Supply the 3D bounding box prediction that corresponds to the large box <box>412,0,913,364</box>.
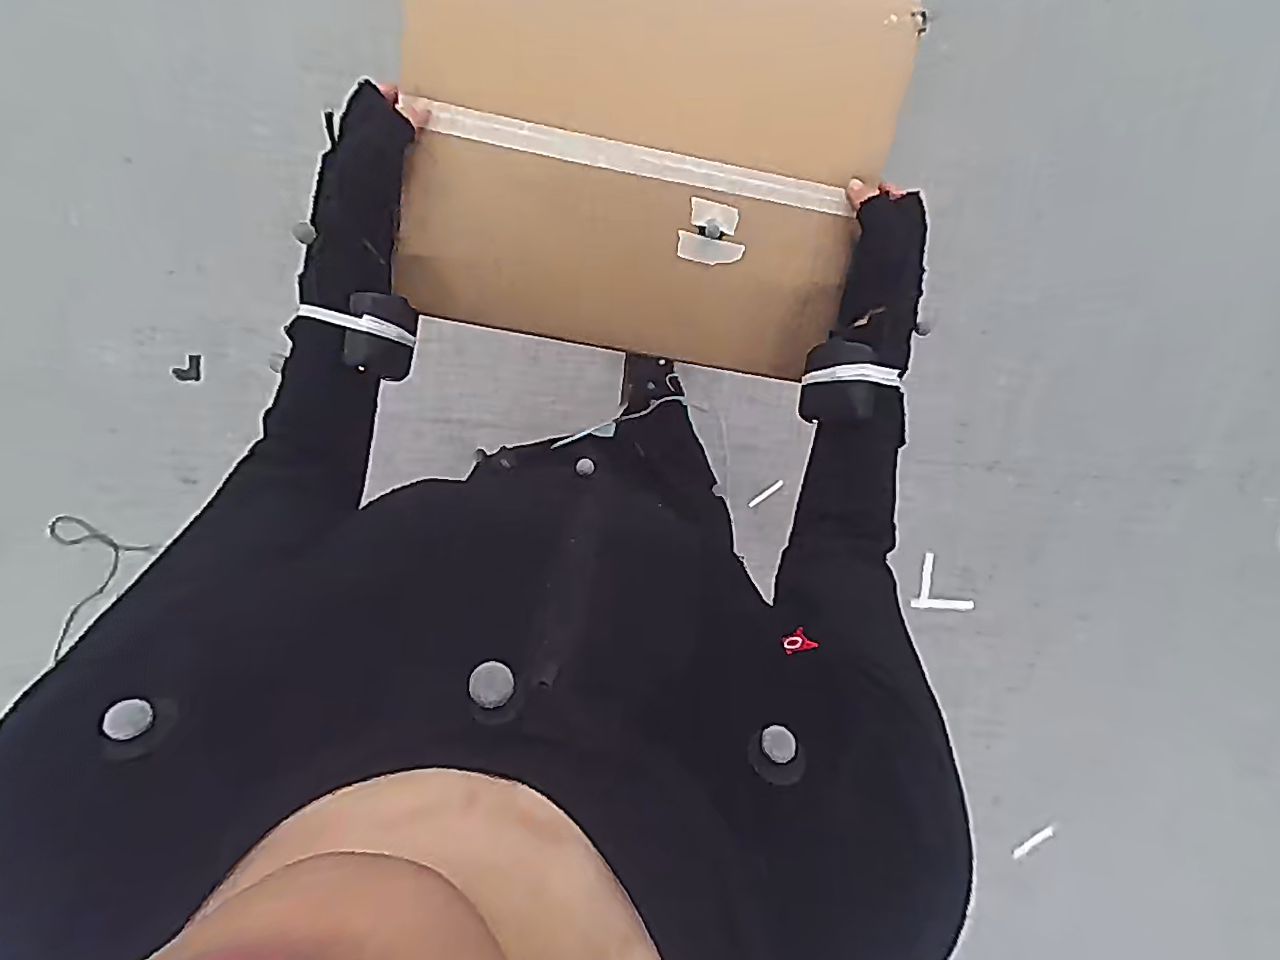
[{"bbox_3d":[-0.002,-0.327,0.610,0.408,0.320,0.320,8,108,-6],"label":"large box"}]
